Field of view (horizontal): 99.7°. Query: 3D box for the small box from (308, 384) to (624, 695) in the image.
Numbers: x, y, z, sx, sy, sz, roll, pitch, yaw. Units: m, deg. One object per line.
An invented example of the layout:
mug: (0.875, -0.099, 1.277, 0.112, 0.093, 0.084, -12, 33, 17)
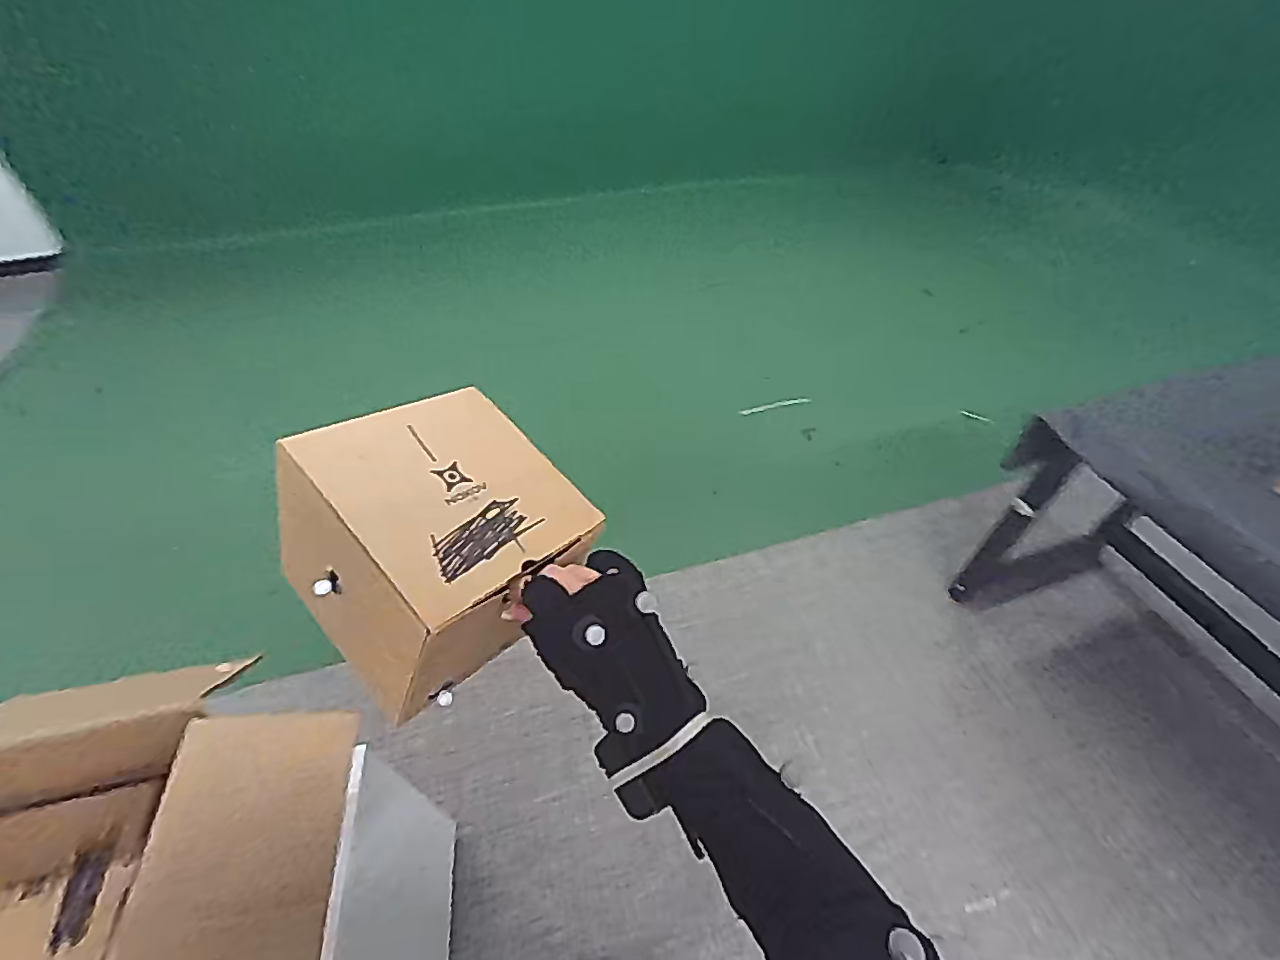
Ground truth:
small box: (-0.150, 0.052, 0.454, 0.179, 0.176, 0.168, 45, 42, 16)
